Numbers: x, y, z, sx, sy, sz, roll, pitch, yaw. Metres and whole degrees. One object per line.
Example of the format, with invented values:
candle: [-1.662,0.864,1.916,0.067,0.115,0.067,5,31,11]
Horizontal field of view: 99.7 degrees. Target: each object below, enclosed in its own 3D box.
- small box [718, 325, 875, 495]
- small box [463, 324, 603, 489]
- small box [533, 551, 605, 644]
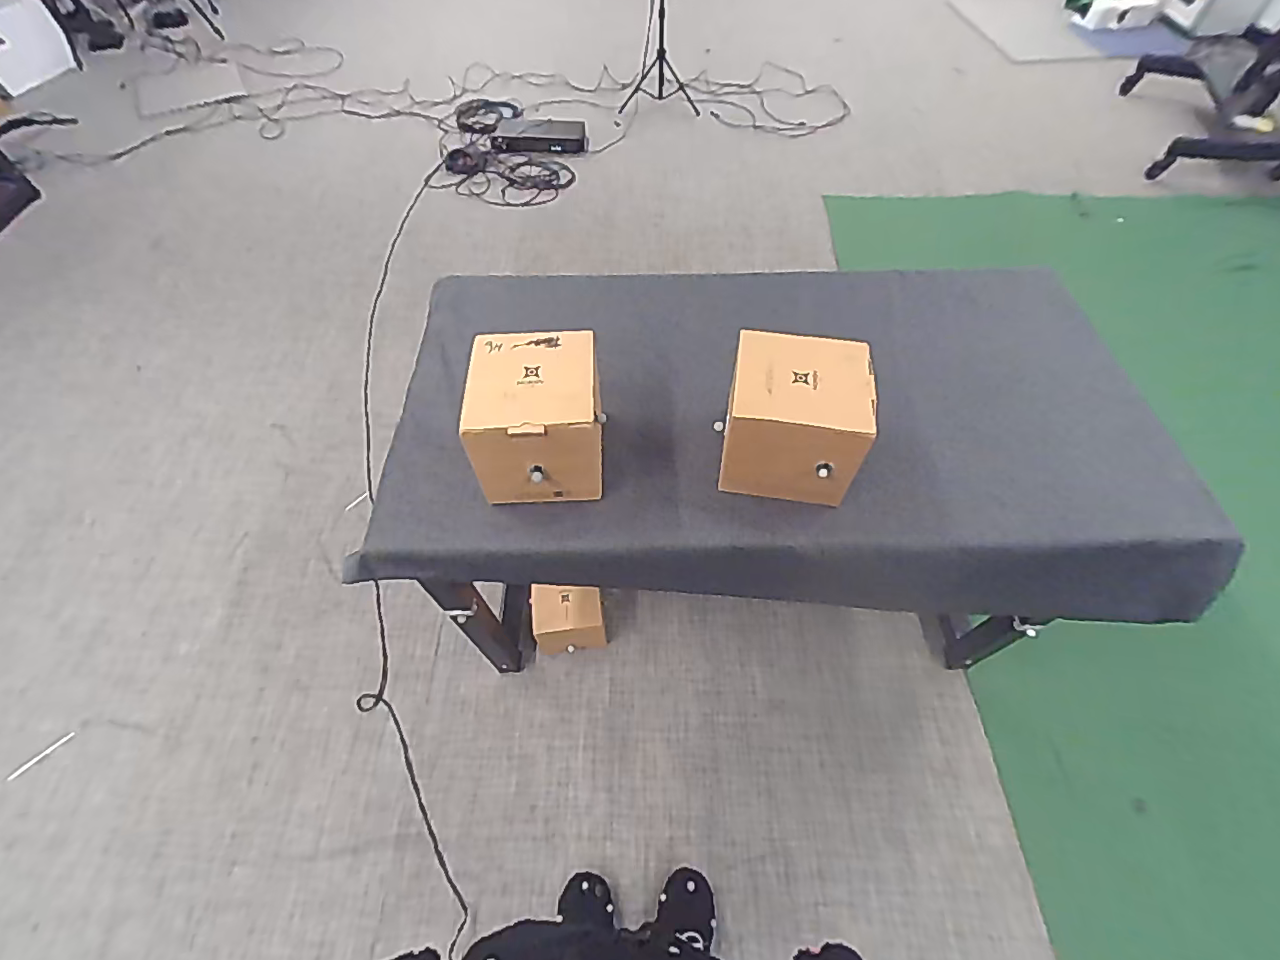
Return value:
small box: [0.214,-0.094,0.770,0.179,0.176,0.168,7,56,6]
small box: [-0.139,-0.097,0.770,0.168,0.176,0.179,-2,56,-2]
small box: [-0.180,0.302,1.382,0.168,0.176,0.179,-7,58,-4]
